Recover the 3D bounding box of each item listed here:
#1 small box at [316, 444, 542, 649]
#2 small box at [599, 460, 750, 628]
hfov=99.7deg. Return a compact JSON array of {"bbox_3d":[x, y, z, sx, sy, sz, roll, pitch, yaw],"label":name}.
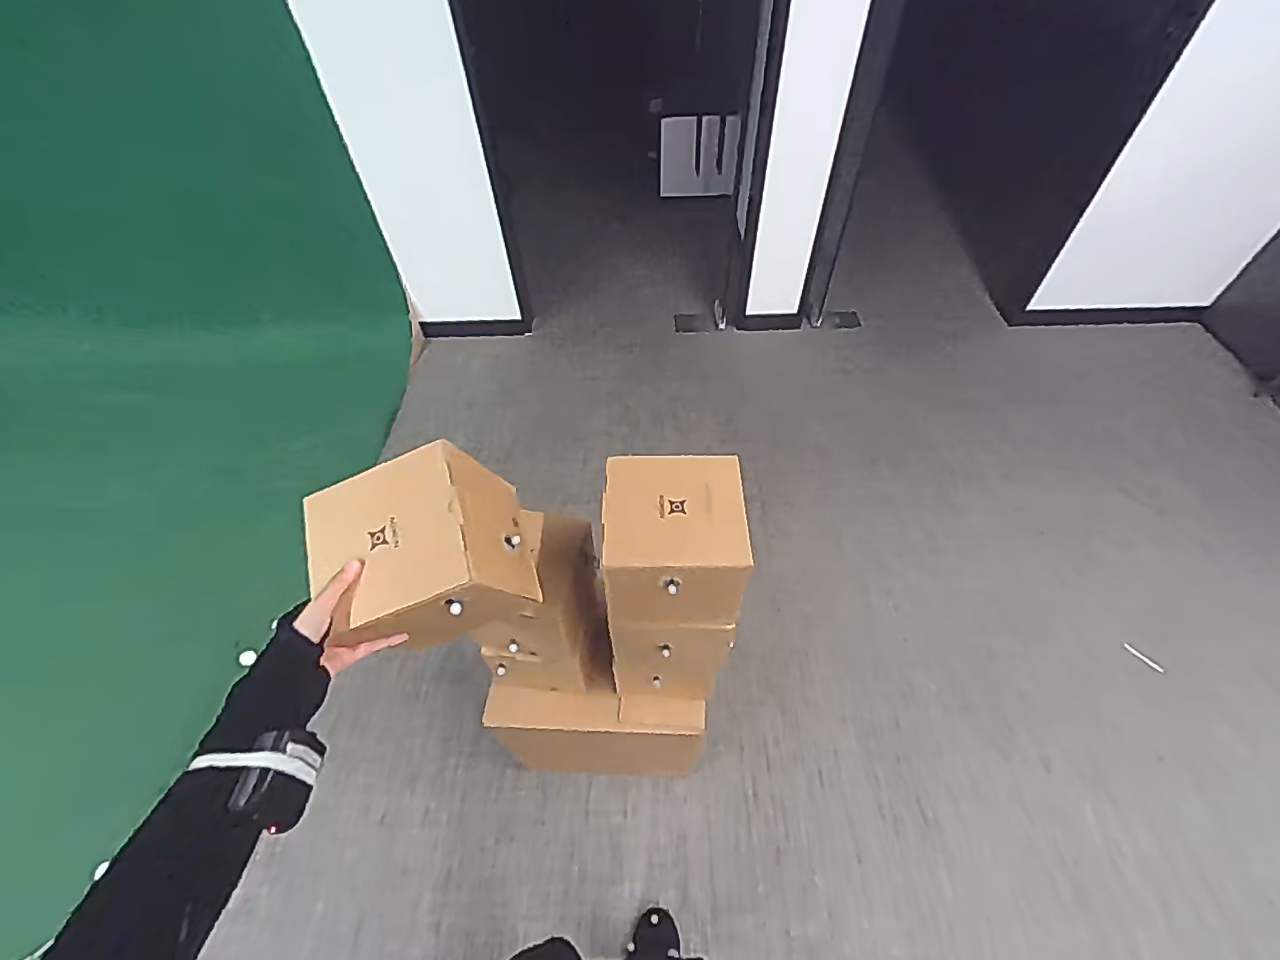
[{"bbox_3d":[-0.240,0.089,0.632,0.179,0.176,0.168,-22,66,5],"label":"small box"},{"bbox_3d":[0.043,0.089,0.725,0.179,0.176,0.168,0,52,1],"label":"small box"}]
